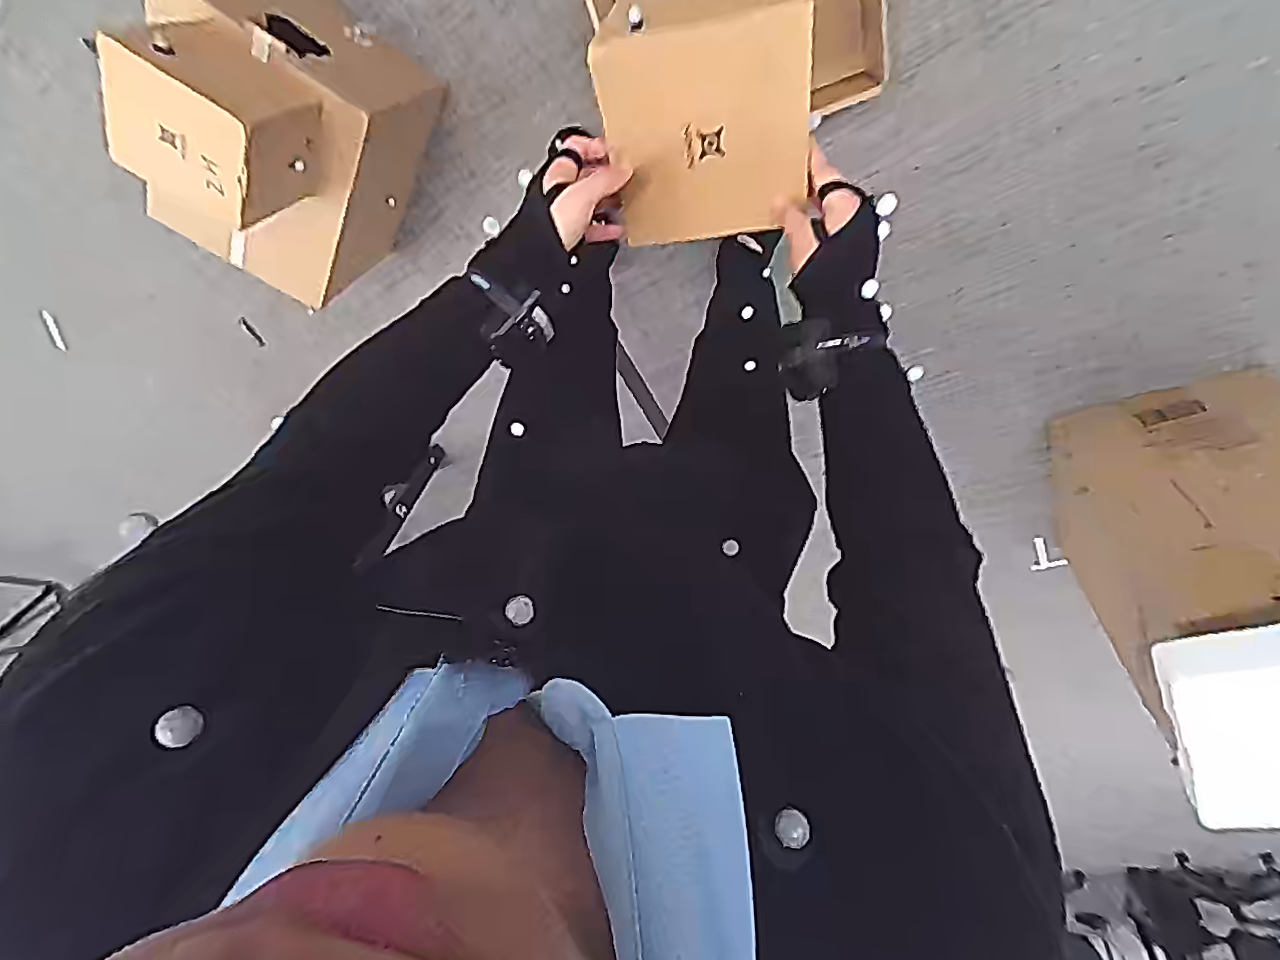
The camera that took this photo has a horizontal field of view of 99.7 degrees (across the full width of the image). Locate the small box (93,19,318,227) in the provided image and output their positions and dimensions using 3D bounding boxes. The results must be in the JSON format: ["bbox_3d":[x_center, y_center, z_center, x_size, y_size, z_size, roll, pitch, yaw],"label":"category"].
[{"bbox_3d":[-0.595,-0.501,0.758,0.179,0.176,0.168,29,132,-17],"label":"small box"}]

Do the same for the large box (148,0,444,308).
[{"bbox_3d":[-0.613,-0.618,0.992,0.320,0.320,0.408,31,132,-17],"label":"large box"}]
